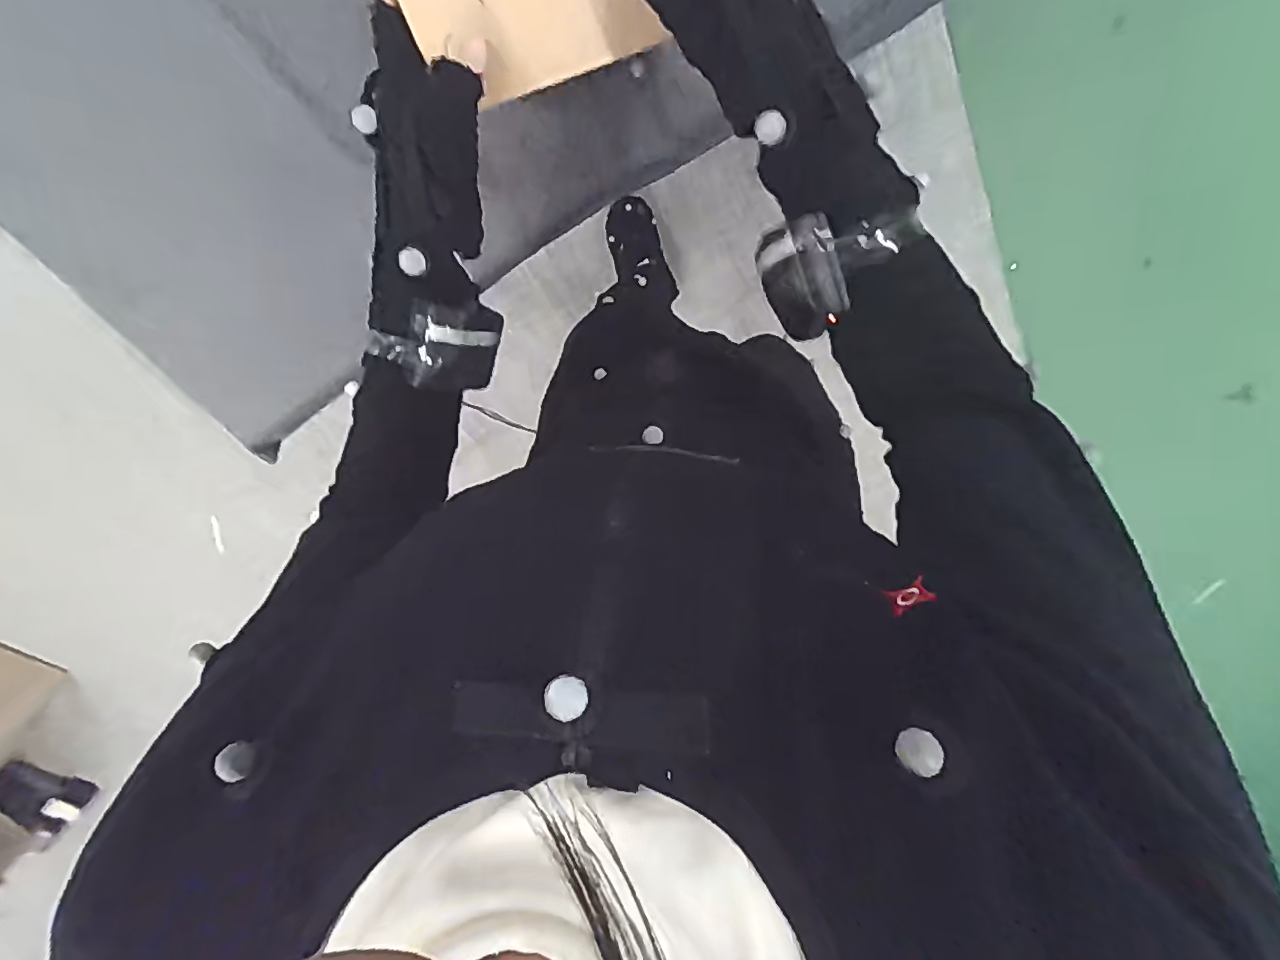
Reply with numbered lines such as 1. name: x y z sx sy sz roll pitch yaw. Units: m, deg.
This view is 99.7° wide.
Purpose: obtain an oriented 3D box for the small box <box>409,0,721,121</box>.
1. small box: -0.061 -0.361 0.348 0.179 0.176 0.168 -15 128 8
